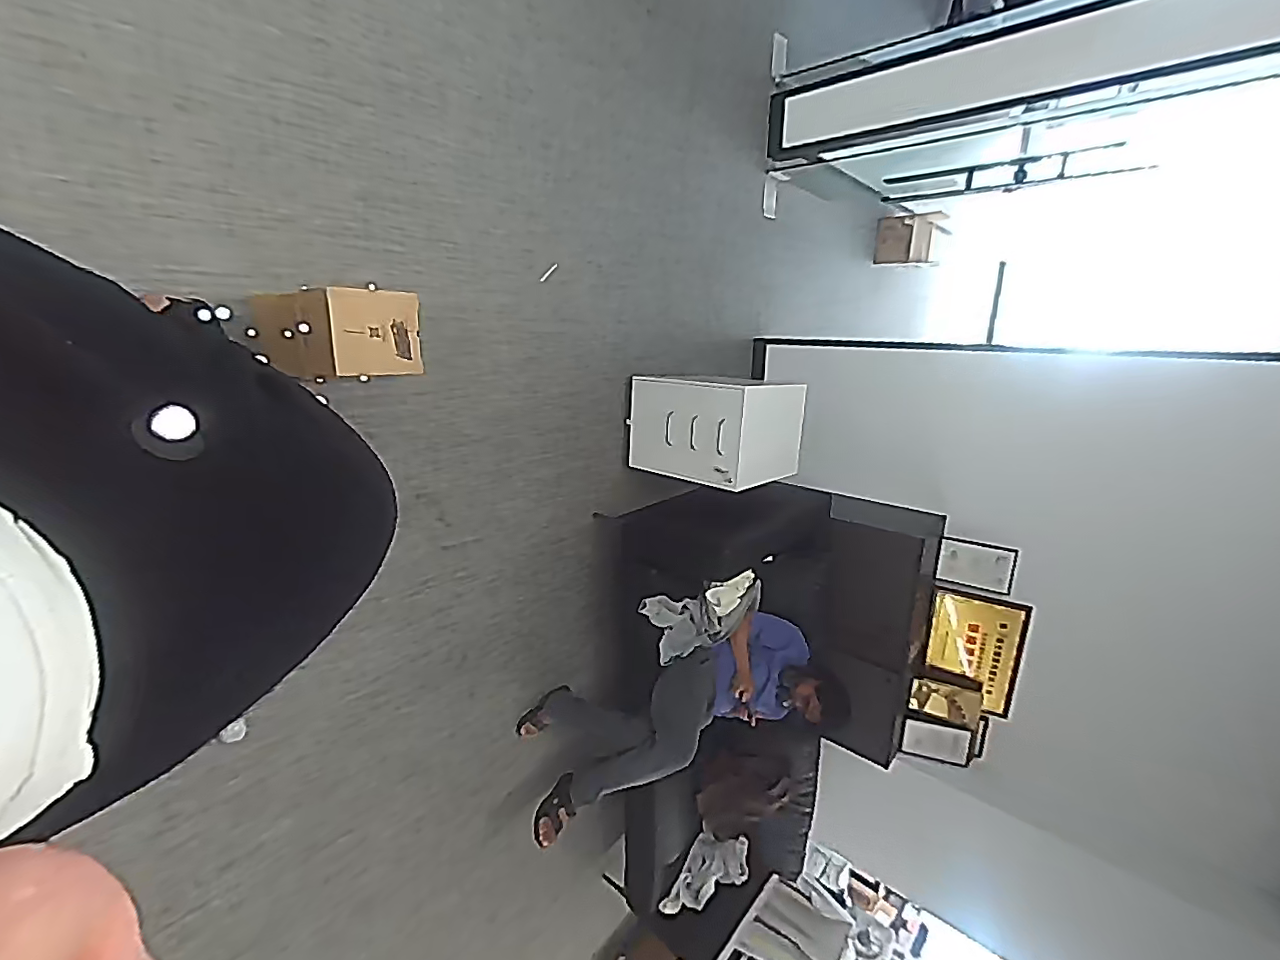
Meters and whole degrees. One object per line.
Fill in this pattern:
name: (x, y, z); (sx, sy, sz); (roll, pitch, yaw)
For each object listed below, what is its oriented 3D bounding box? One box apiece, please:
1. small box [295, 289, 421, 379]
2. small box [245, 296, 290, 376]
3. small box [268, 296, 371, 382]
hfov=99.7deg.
small box: (-0.582, -0.300, 1.120); (0.179, 0.176, 0.168); (-14, 111, -47)
small box: (-0.835, -0.352, 1.320); (0.168, 0.176, 0.179); (-16, 114, -48)
small box: (-0.713, -0.321, 1.220); (0.168, 0.176, 0.179); (-17, 116, -47)
